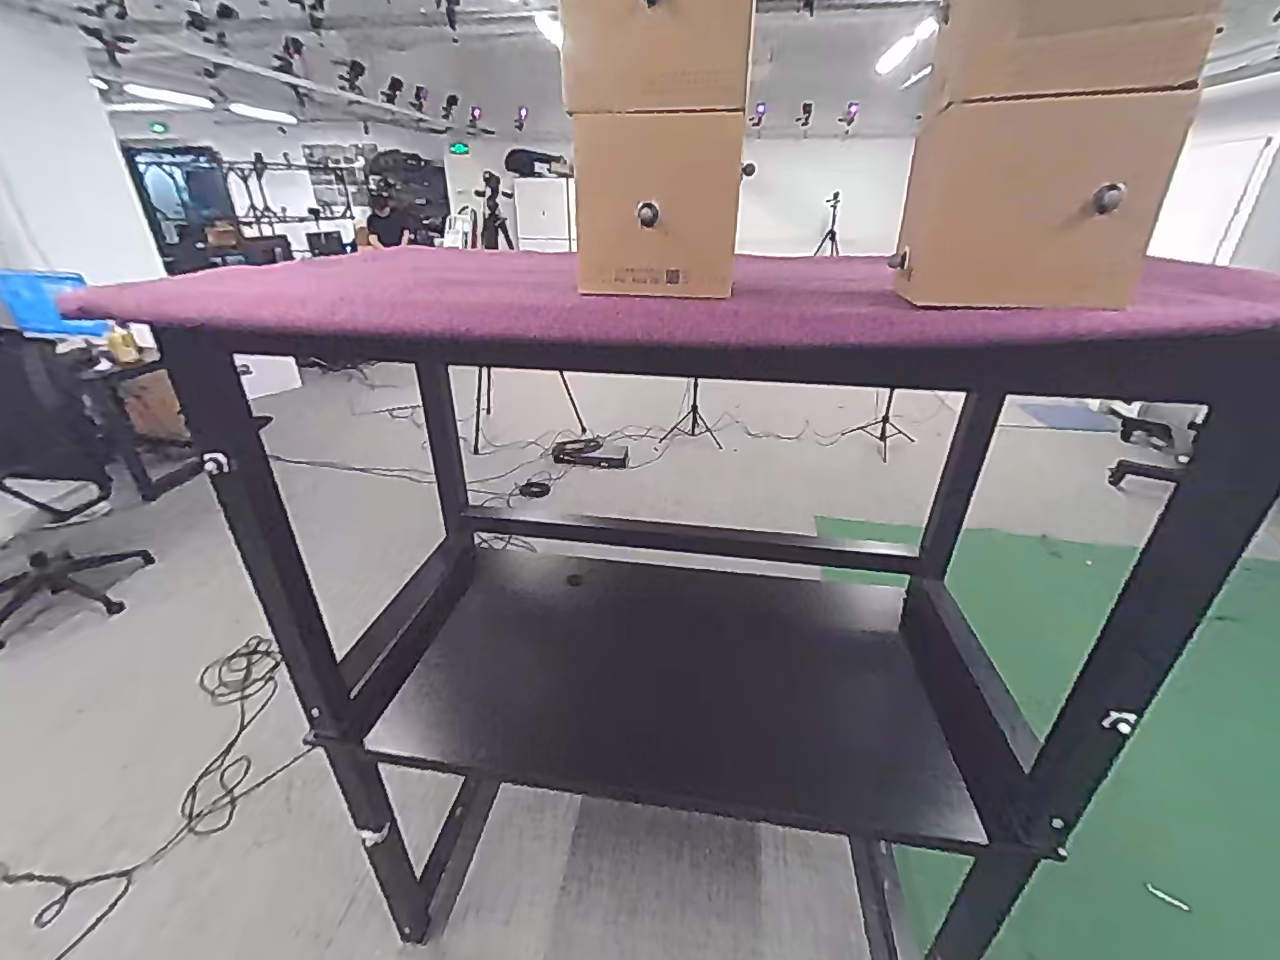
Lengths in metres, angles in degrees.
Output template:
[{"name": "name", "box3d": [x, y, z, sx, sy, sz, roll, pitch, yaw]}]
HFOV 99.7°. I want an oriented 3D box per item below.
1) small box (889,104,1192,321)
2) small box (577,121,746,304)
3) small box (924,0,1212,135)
[{"name": "small box", "box3d": [0.369, -0.257, 0.543, 0.179, 0.176, 0.168, 5, 24, 13]}, {"name": "small box", "box3d": [0.032, -0.303, 0.625, 0.168, 0.176, 0.179, 6, 27, 8]}, {"name": "small box", "box3d": [0.368, -0.408, 0.483, 0.179, 0.176, 0.168, 7, 25, 15]}]
